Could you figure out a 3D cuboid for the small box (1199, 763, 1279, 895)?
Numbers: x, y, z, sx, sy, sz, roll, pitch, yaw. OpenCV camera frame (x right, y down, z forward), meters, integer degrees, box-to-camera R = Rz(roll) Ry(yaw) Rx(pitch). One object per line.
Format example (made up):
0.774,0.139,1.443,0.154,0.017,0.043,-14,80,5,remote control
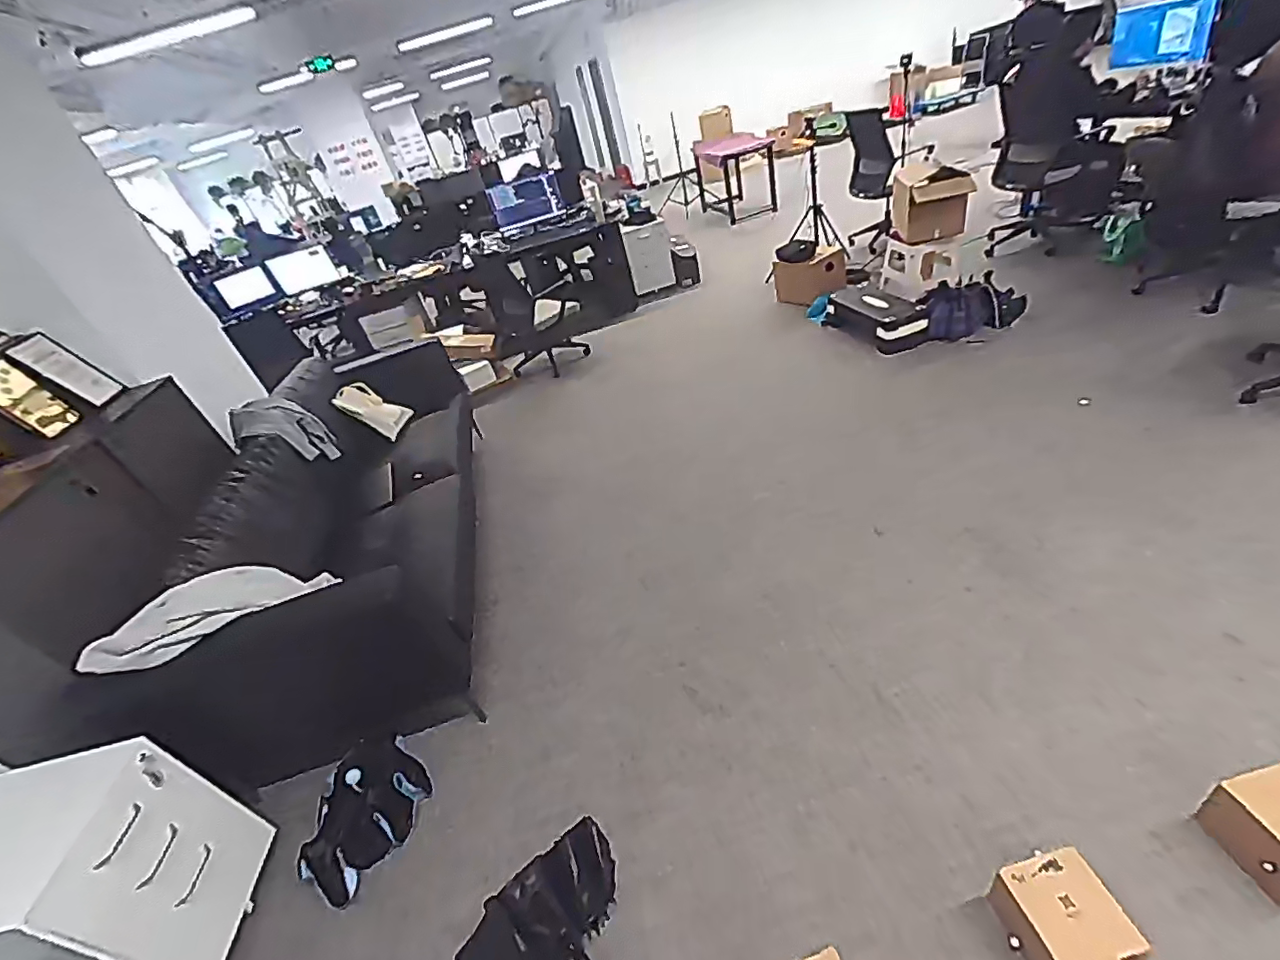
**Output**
1.320,0.716,1.099,0.168,0.176,0.179,-18,33,-1,small box

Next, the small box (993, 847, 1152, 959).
0.849,0.884,1.082,0.168,0.176,0.179,-18,35,0,small box
